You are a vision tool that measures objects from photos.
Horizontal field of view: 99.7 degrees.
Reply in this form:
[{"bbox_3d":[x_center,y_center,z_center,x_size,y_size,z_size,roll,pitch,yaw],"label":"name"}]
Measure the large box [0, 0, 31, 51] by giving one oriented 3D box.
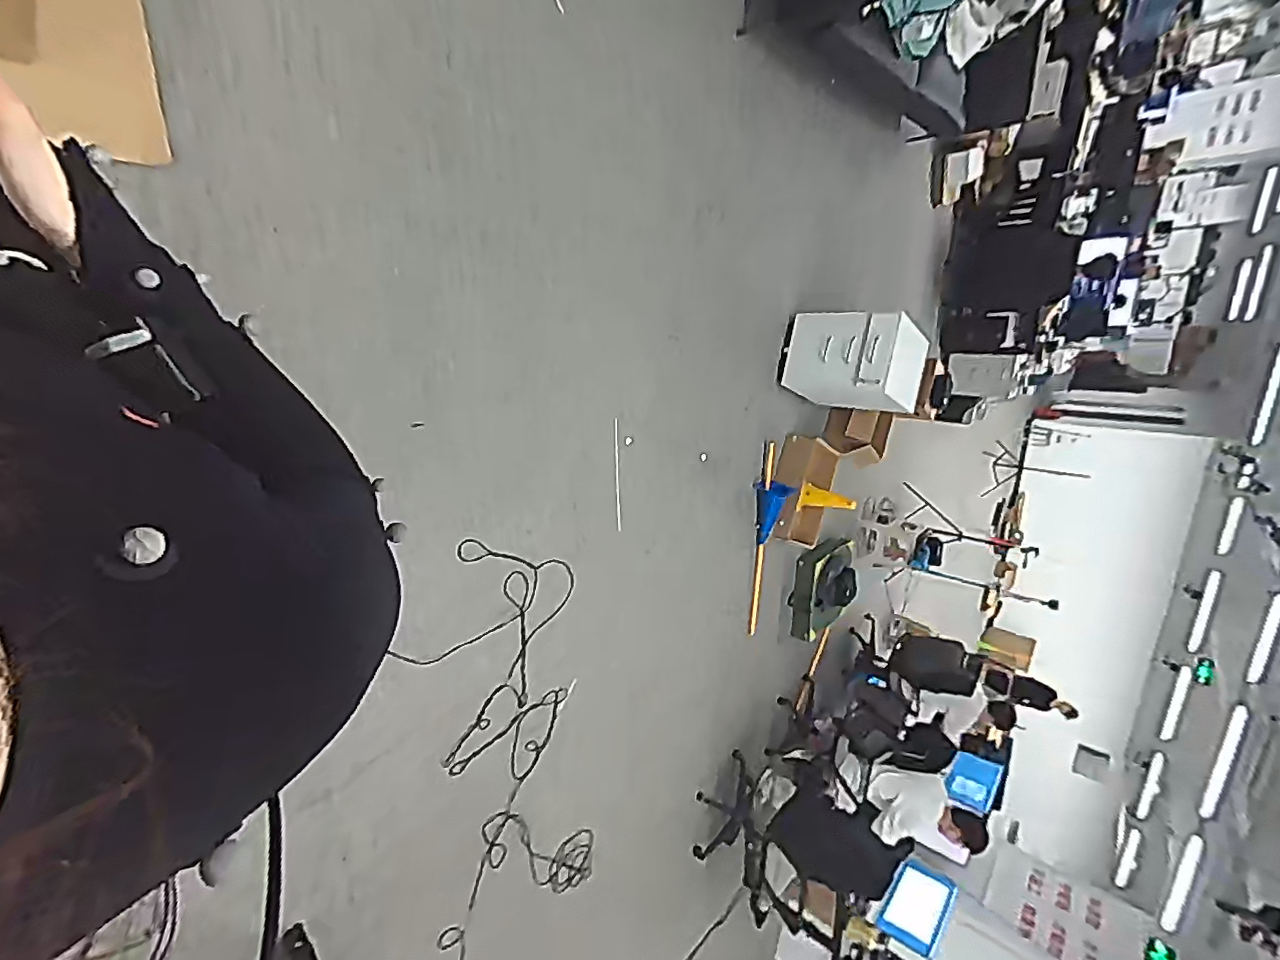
[{"bbox_3d":[-1.066,-0.799,0.641,0.408,0.320,0.320,-19,114,-46],"label":"large box"}]
